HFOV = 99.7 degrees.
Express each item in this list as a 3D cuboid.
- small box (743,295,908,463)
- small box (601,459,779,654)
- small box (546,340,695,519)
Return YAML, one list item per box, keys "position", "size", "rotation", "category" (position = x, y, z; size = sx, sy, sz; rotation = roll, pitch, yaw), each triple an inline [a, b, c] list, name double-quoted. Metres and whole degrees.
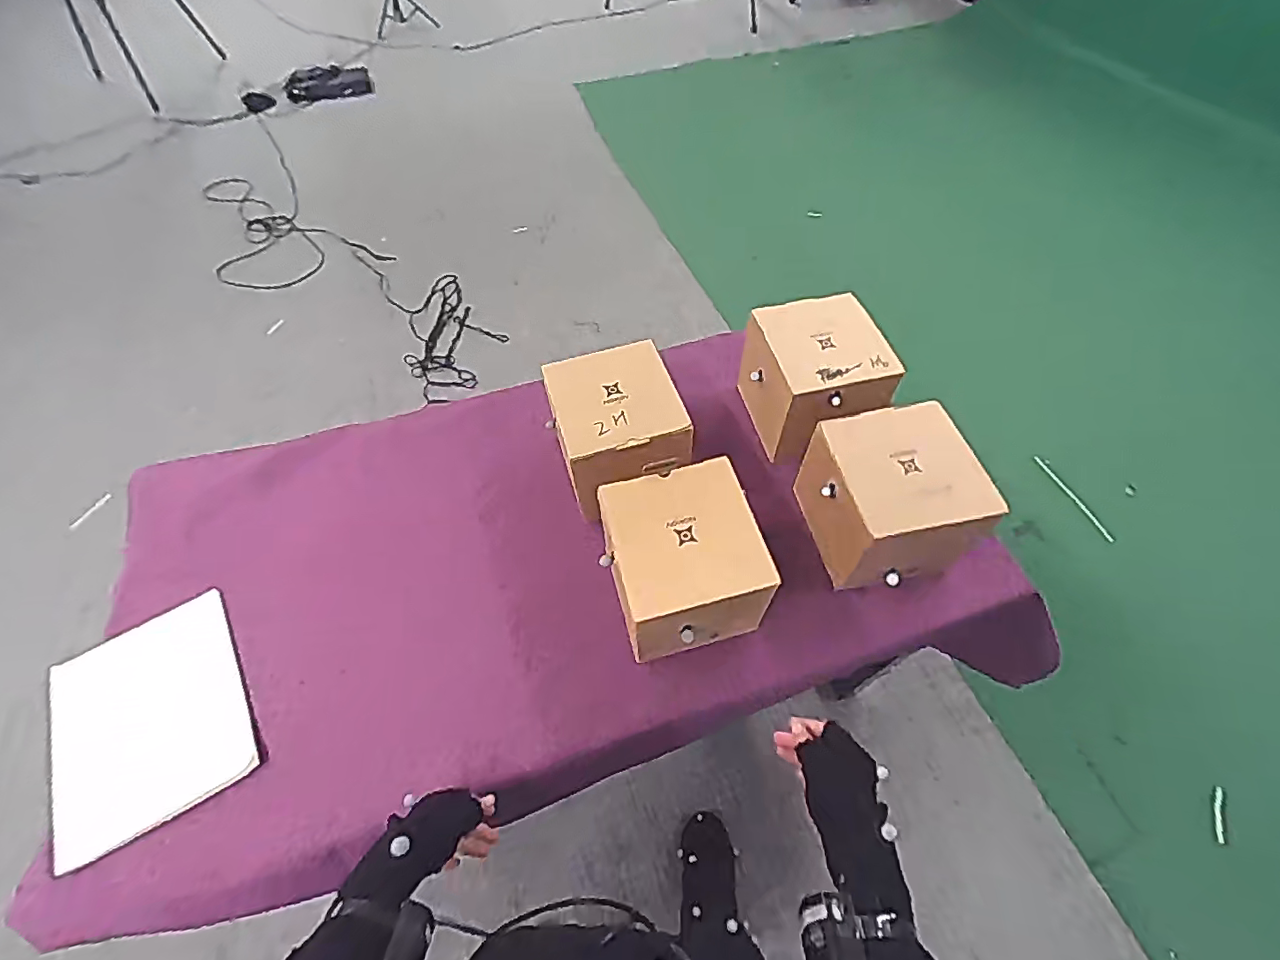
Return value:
- position: [0.268, -0.152, 0.834]
  size: [0.168, 0.176, 0.179]
  rotation: [-11, 57, -5]
  category: "small box"
- position: [0.054, 0.104, 0.675]
  size: [0.168, 0.176, 0.179]
  rotation: [-13, 58, -6]
  category: "small box"
- position: [-0.031, -0.070, 0.788]
  size: [0.168, 0.176, 0.179]
  rotation: [-15, 59, -8]
  category: "small box"
